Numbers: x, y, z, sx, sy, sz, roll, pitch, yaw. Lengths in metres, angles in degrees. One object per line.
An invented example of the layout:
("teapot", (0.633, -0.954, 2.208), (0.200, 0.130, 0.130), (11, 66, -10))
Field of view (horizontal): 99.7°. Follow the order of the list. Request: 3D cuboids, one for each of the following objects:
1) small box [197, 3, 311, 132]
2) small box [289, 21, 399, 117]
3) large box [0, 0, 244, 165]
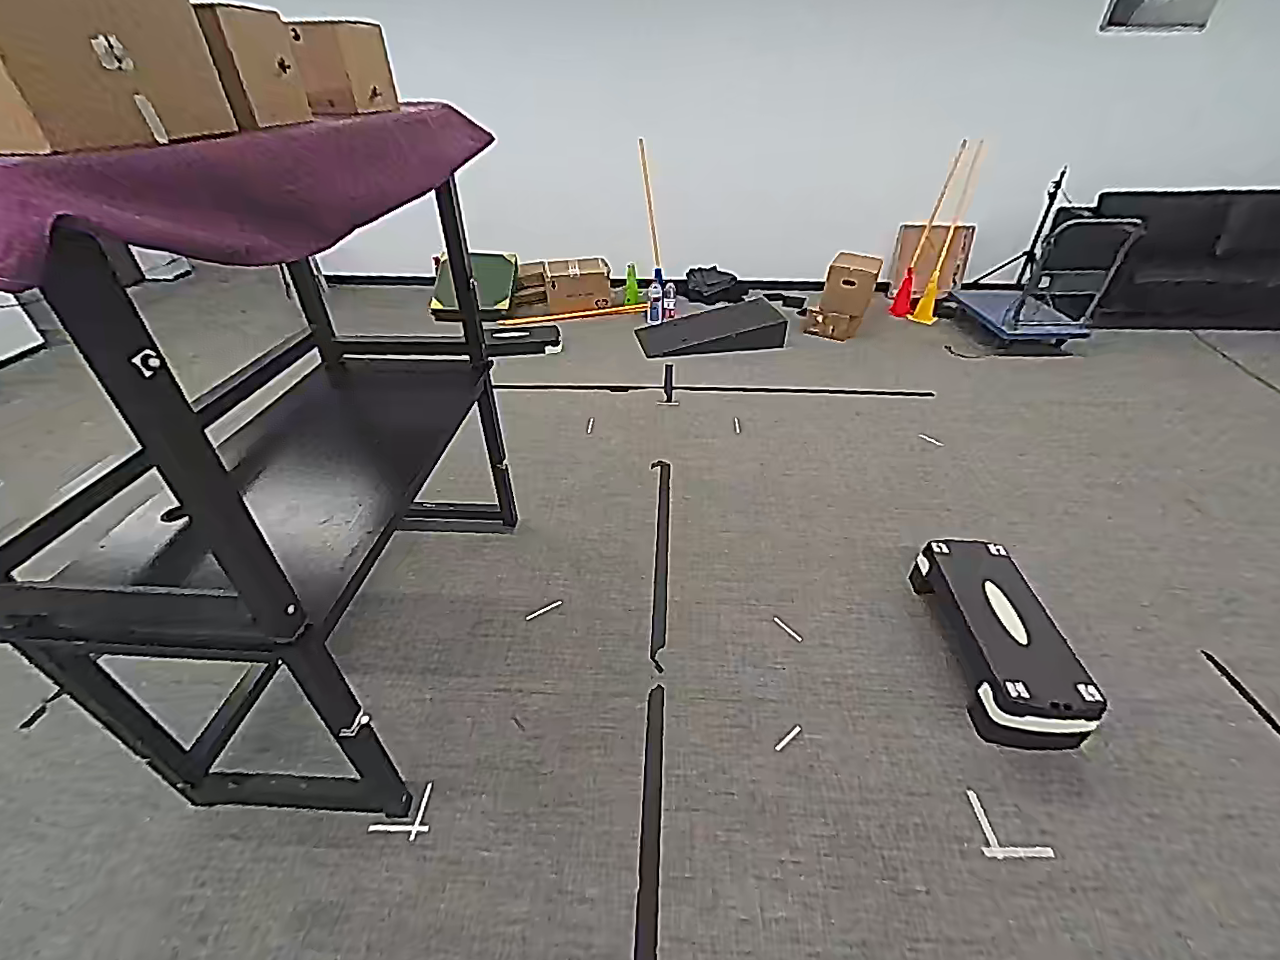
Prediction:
("small box", (-0.725, -0.728, 0.962), (0.168, 0.176, 0.179), (1, 37, 4))
("small box", (-0.693, -0.958, 1.267), (0.168, 0.176, 0.179), (7, 37, 11))
("large box", (-0.808, -0.565, 0.633), (0.408, 0.320, 0.320), (2, 36, 4))
